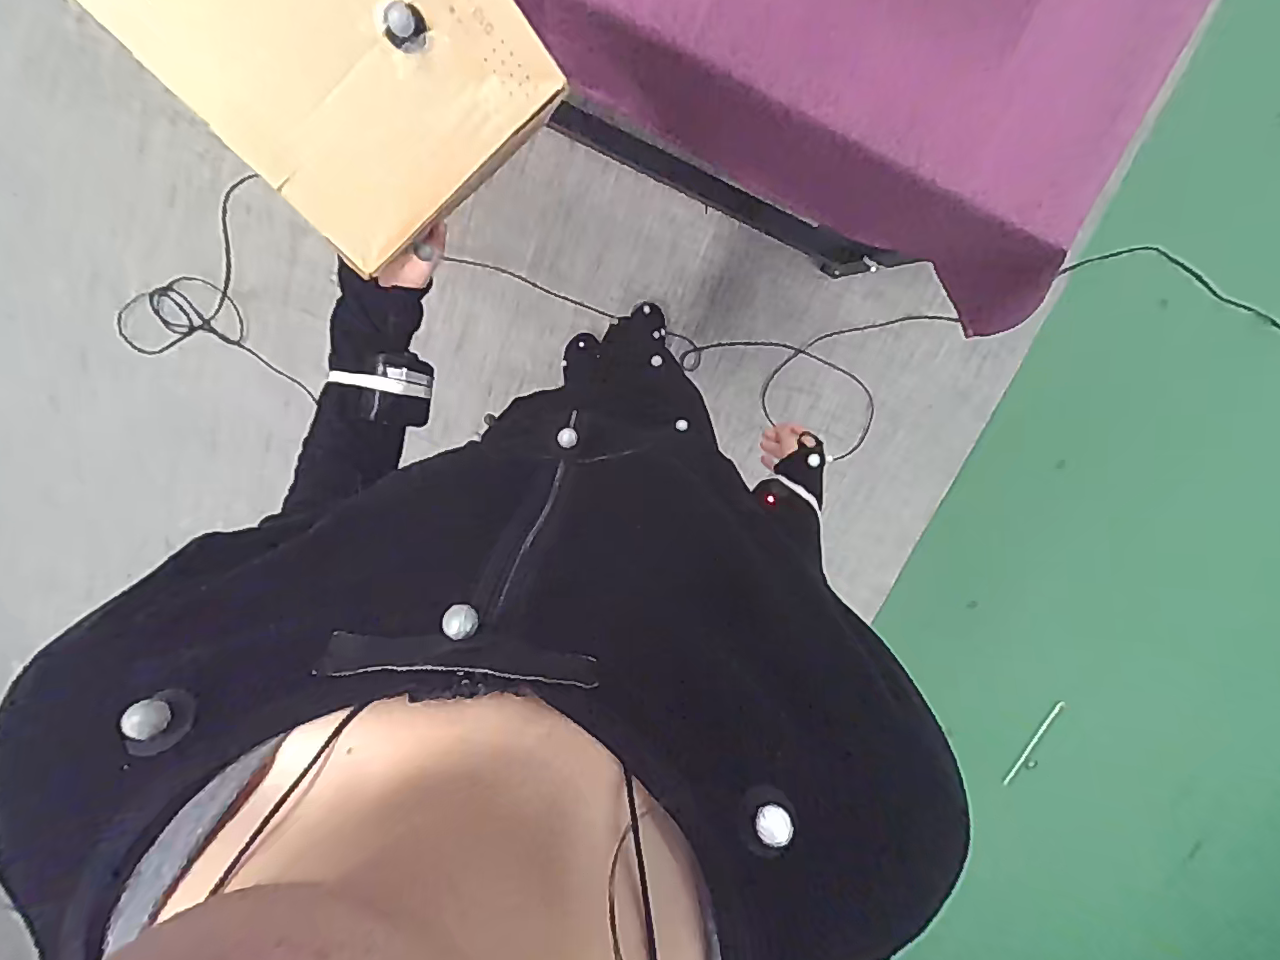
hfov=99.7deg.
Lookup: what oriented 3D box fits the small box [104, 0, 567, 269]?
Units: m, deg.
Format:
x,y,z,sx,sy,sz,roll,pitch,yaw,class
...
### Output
x,y,z,sx,sy,sz,roll,pitch,yaw,class
-0.166,-0.270,0.355,0.176,0.179,0.168,-40,119,7,small box
